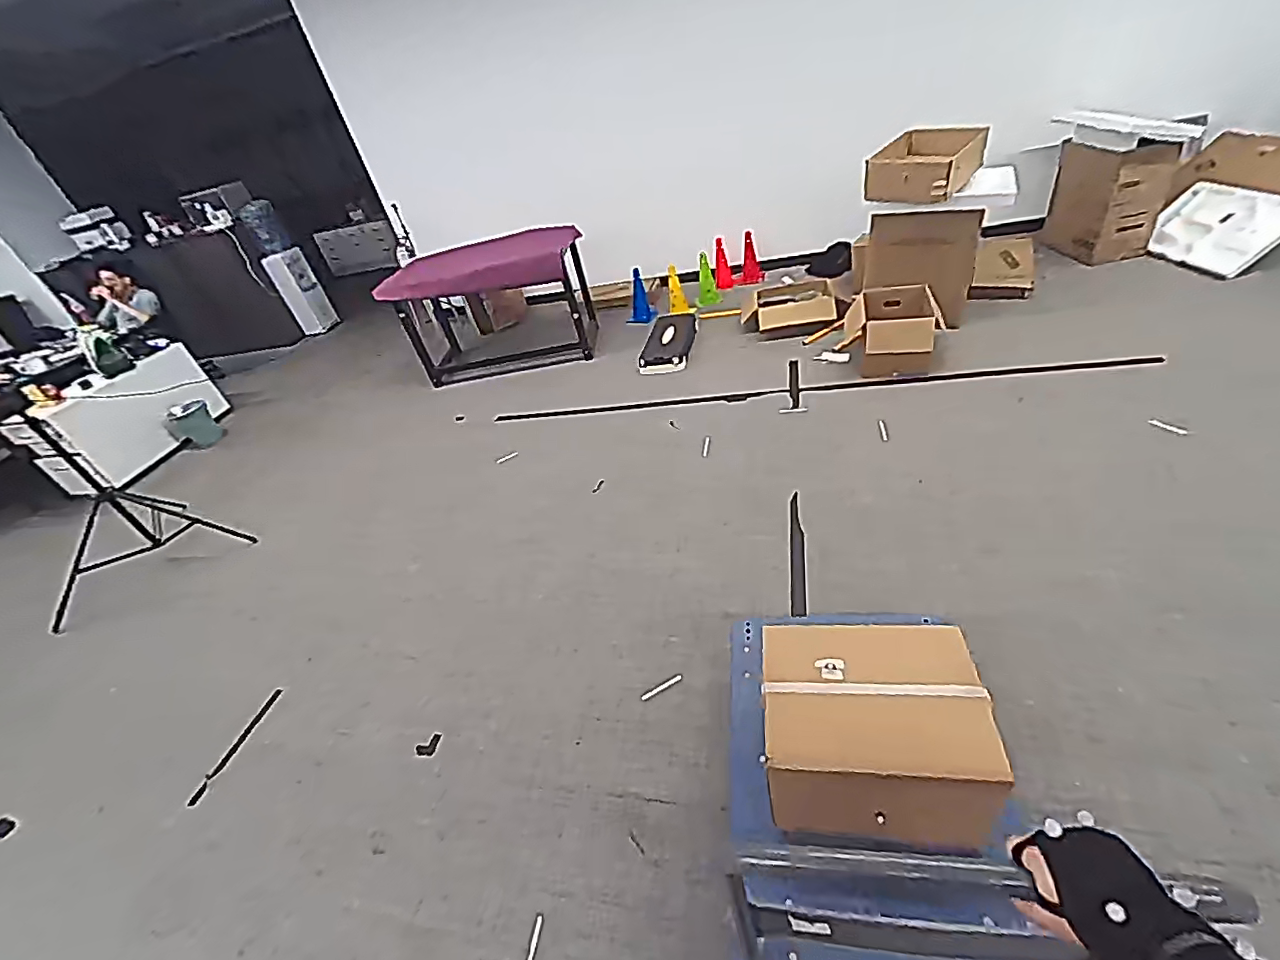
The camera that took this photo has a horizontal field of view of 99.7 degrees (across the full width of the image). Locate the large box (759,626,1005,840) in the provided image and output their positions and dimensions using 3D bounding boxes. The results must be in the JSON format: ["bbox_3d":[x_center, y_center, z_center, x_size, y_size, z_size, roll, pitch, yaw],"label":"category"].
[{"bbox_3d":[0.480,0.539,1.161,0.408,0.320,0.320,-6,37,14],"label":"large box"}]
